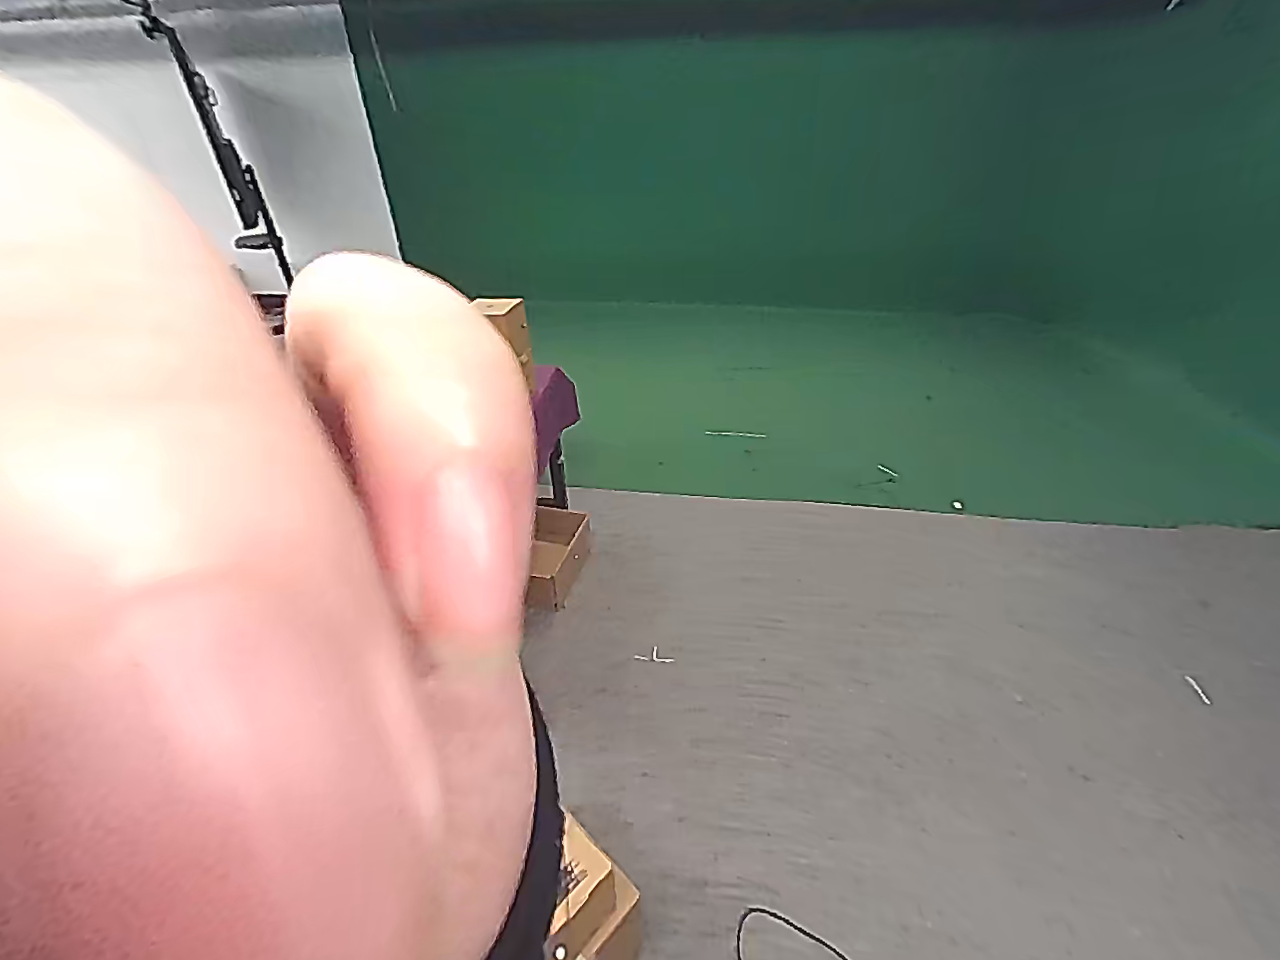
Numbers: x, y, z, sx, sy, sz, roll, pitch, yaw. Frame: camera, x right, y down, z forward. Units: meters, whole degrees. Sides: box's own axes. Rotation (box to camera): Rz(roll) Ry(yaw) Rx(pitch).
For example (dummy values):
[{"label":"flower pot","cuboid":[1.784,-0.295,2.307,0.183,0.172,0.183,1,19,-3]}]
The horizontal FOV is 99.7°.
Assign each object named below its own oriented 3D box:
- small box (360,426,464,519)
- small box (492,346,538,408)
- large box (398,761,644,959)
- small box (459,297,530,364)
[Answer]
[{"label":"small box","cuboid":[-0.567,-0.019,1.377,0.168,0.176,0.179,5,35,8]},{"label":"small box","cuboid":[-0.468,-0.361,1.883,0.179,0.176,0.168,3,34,9]},{"label":"large box","cuboid":[-0.239,0.918,1.153,0.408,0.320,0.320,26,42,36]},{"label":"small box","cuboid":[-0.474,-0.499,1.796,0.168,0.176,0.179,4,35,10]}]
